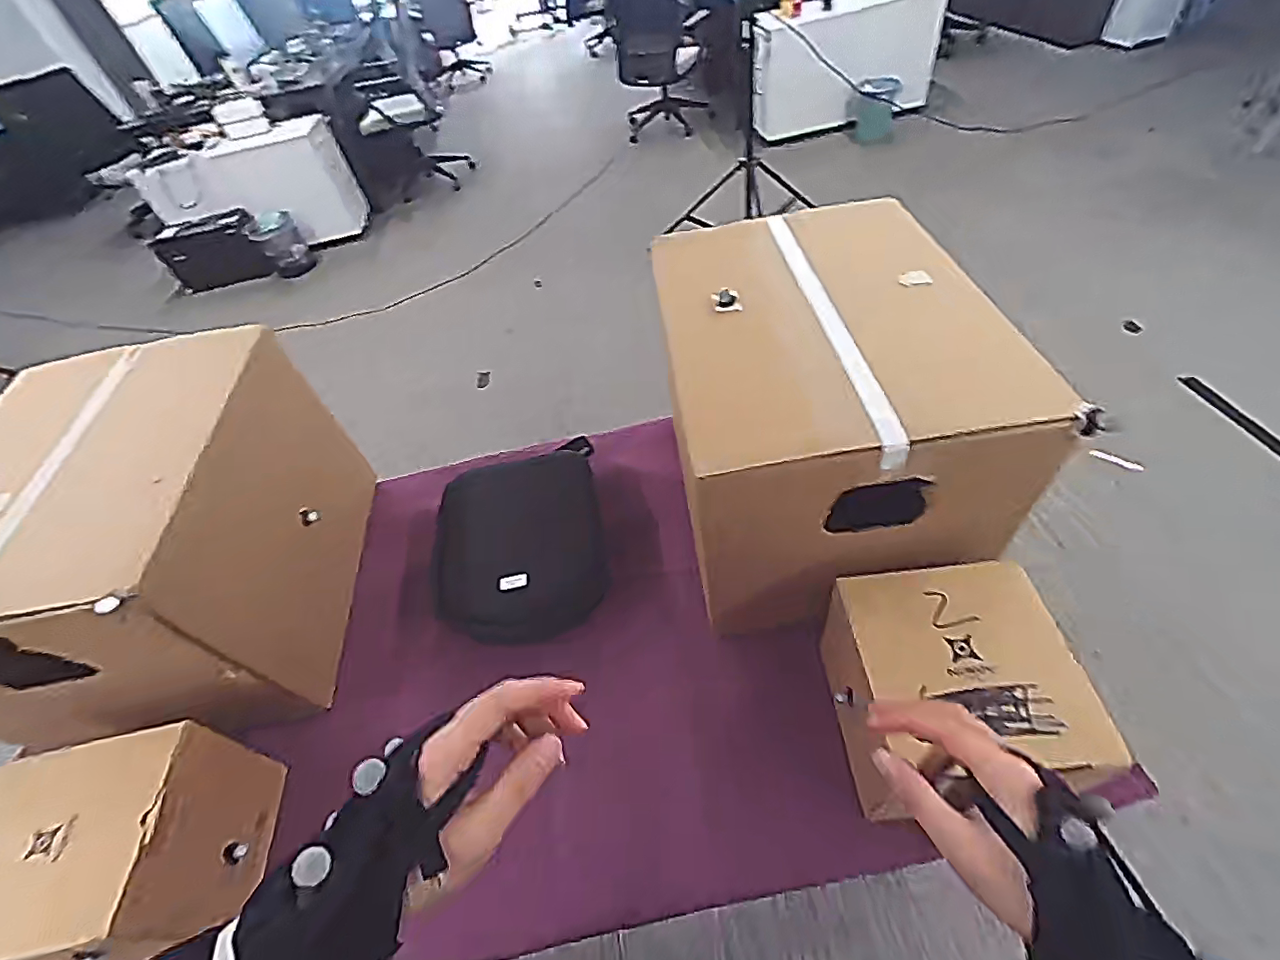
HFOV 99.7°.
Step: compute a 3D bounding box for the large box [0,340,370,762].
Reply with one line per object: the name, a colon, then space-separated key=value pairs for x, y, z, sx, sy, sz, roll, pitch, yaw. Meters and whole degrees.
large box: x=-0.588 y=0.086 z=0.695 sx=0.320 sy=0.320 sz=0.408 roll=-13 pitch=51 yaw=-1
